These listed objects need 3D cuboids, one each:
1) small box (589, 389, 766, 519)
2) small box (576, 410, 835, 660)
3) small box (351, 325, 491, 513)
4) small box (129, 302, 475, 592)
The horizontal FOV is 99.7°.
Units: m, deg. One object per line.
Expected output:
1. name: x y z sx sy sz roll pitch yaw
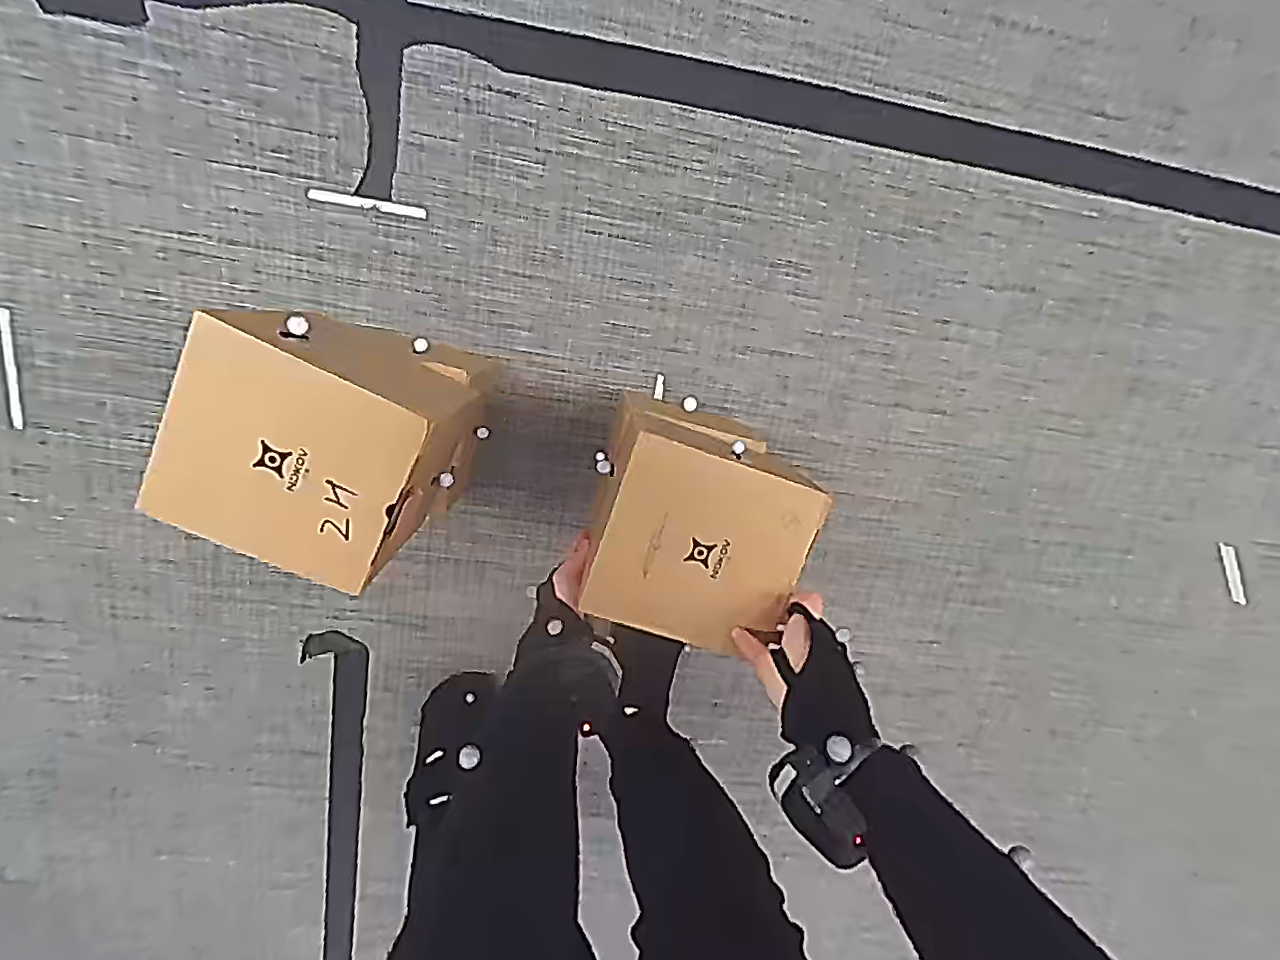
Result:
1. small box: 0.035 -0.005 0.686 0.168 0.176 0.179 14 104 -9
2. small box: 0.050 0.040 0.527 0.179 0.176 0.168 18 104 -7
3. small box: -0.284 -0.081 0.634 0.179 0.176 0.168 14 105 -10
4. small box: -0.271 -0.037 0.475 0.179 0.176 0.168 26 103 -12
